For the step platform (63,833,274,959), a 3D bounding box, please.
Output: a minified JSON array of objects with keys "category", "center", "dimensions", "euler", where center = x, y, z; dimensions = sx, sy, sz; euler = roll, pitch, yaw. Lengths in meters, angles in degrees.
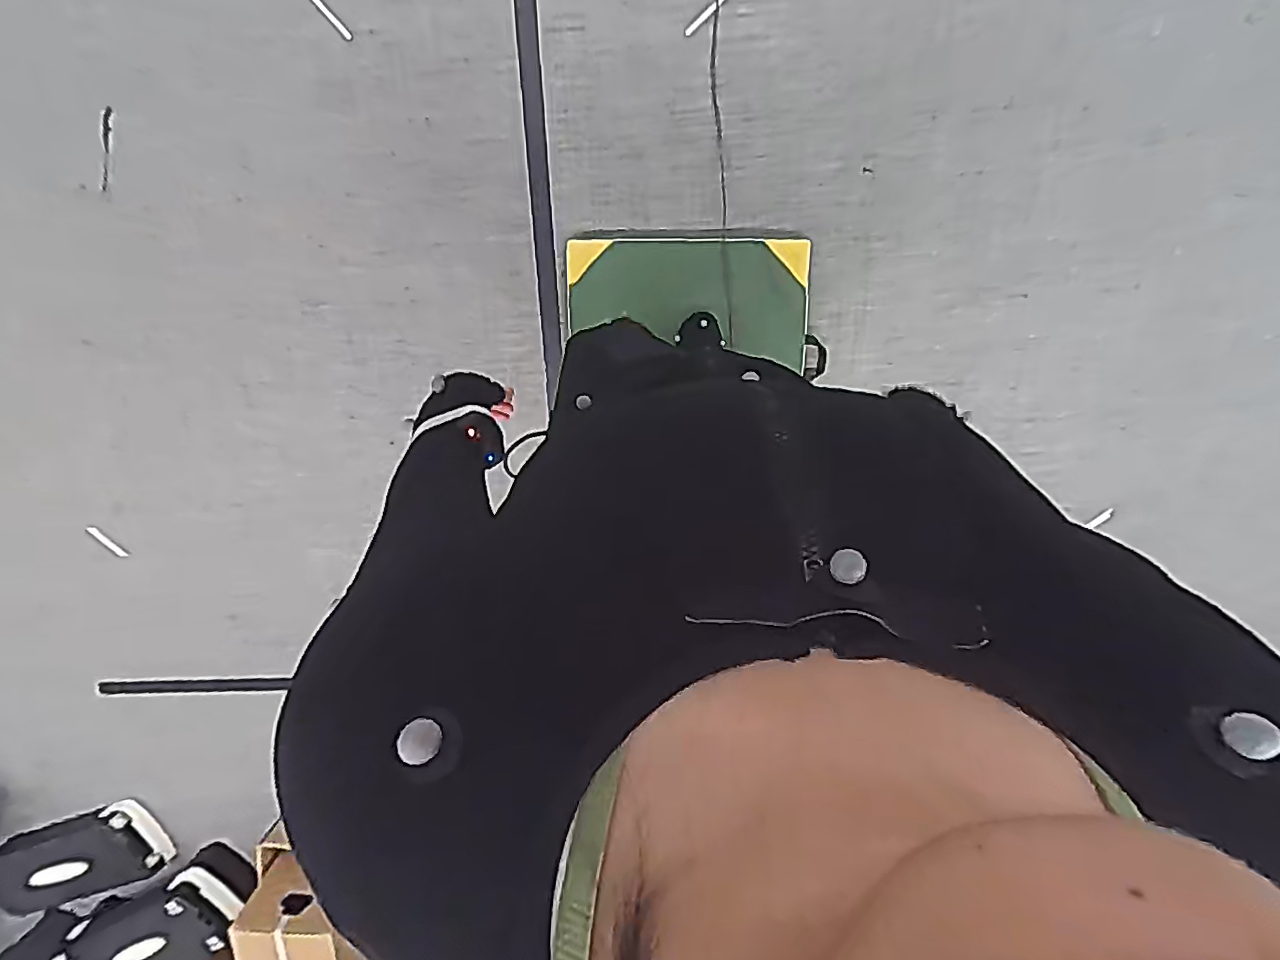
[{"category":"step platform","center":[-1.731,1.584,1.989],"dimensions":[0.684,0.204,0.286],"euler":[-30,105,9]}]
